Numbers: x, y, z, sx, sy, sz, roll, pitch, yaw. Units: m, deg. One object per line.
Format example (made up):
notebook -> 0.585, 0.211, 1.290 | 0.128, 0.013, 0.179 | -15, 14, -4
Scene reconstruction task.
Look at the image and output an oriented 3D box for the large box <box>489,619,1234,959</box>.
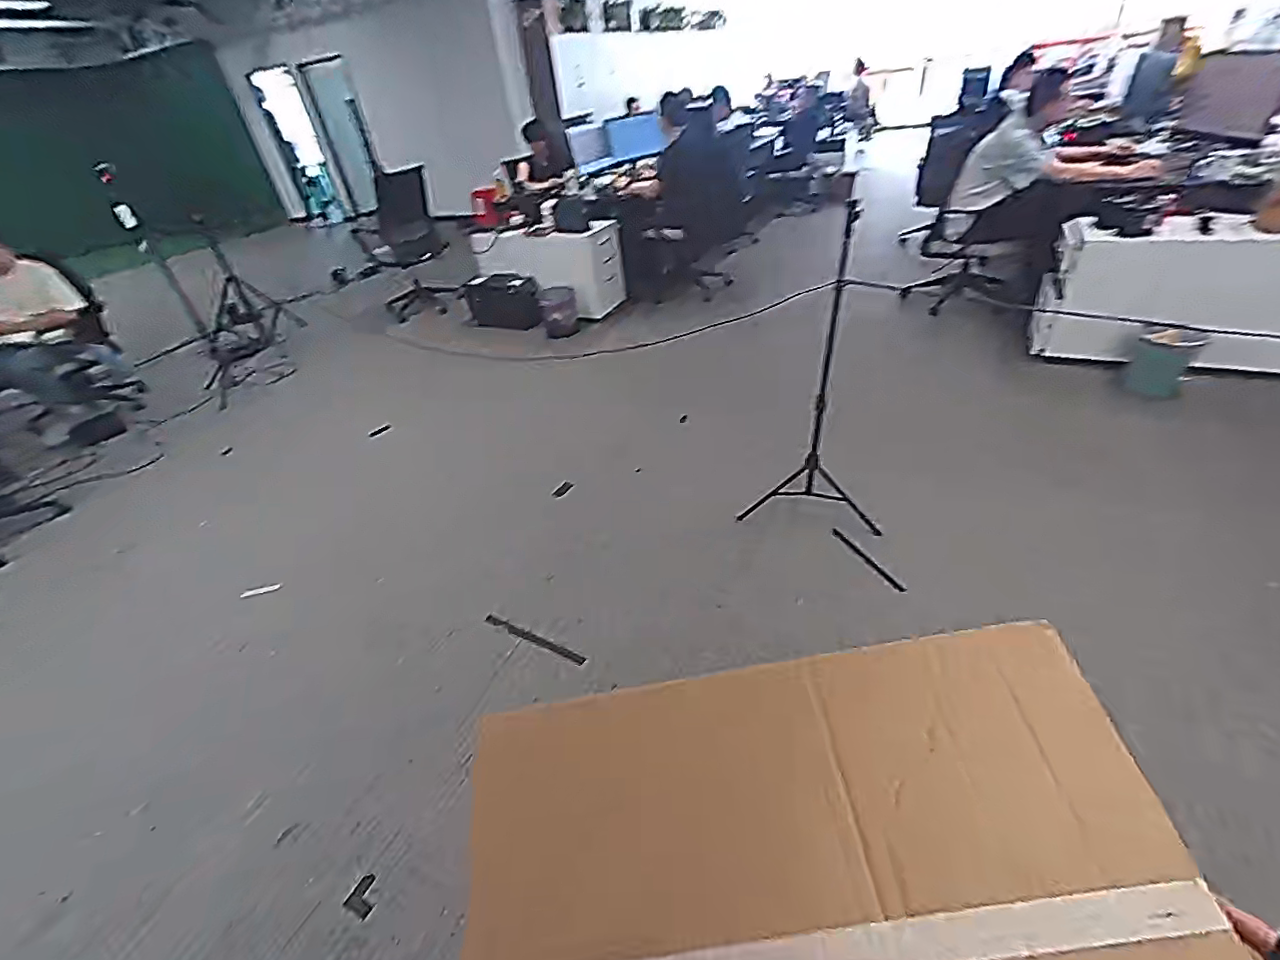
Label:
large box -> 0.127, 0.343, 0.424 | 0.408, 0.320, 0.320 | -11, 56, 4
